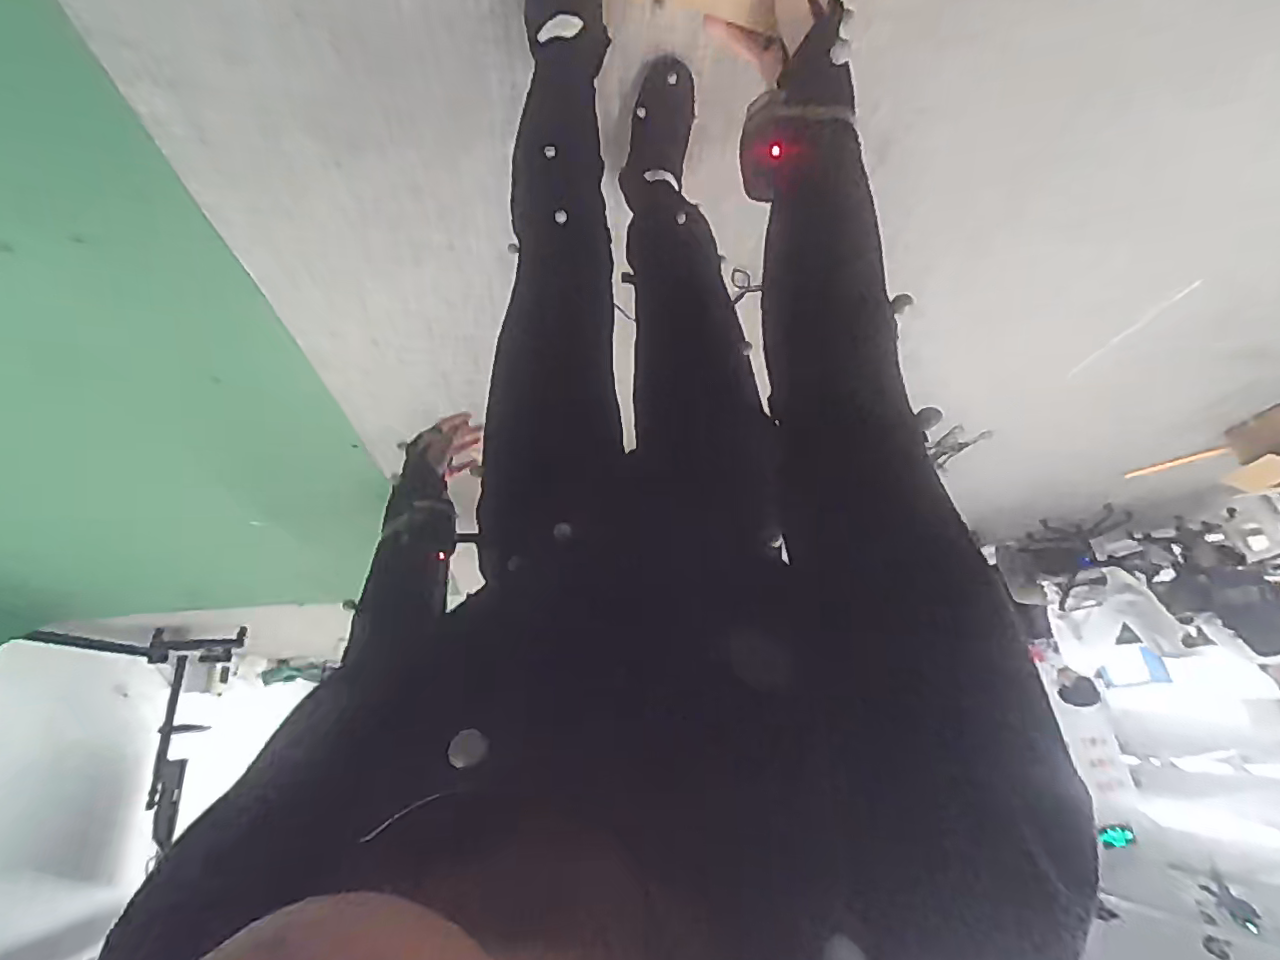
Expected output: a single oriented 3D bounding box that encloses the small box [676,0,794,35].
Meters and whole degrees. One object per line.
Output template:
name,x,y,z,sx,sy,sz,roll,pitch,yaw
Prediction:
small box,0.048,-0.494,0.427,0.168,0.176,0.179,1,133,-20
